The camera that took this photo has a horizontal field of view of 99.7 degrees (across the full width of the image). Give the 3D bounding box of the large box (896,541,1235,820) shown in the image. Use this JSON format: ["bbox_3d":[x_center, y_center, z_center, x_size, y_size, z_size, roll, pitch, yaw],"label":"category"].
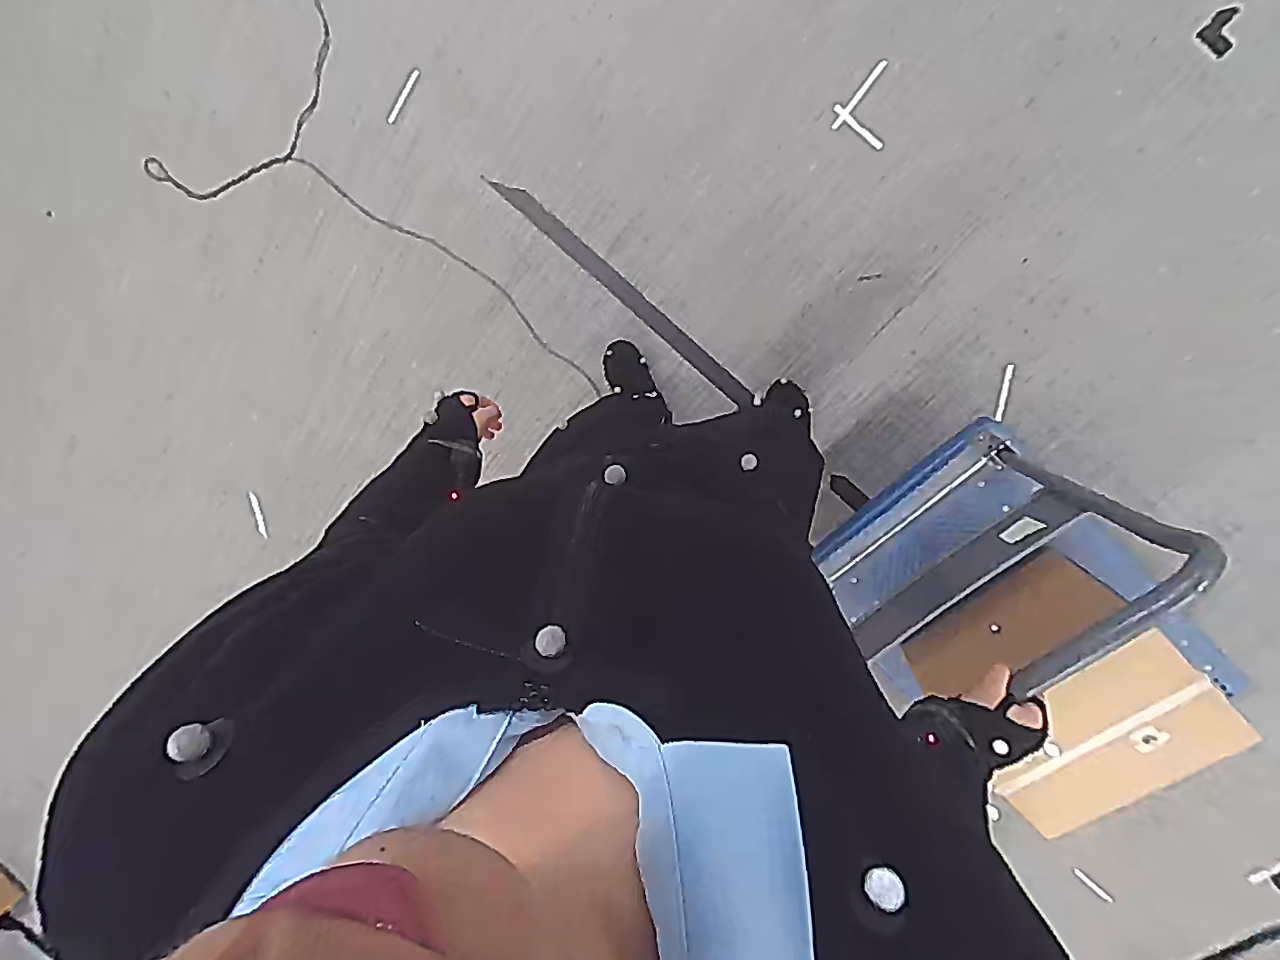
[{"bbox_3d":[0.845,0.406,1.151,0.320,0.320,0.408,44,107,-5],"label":"large box"}]
